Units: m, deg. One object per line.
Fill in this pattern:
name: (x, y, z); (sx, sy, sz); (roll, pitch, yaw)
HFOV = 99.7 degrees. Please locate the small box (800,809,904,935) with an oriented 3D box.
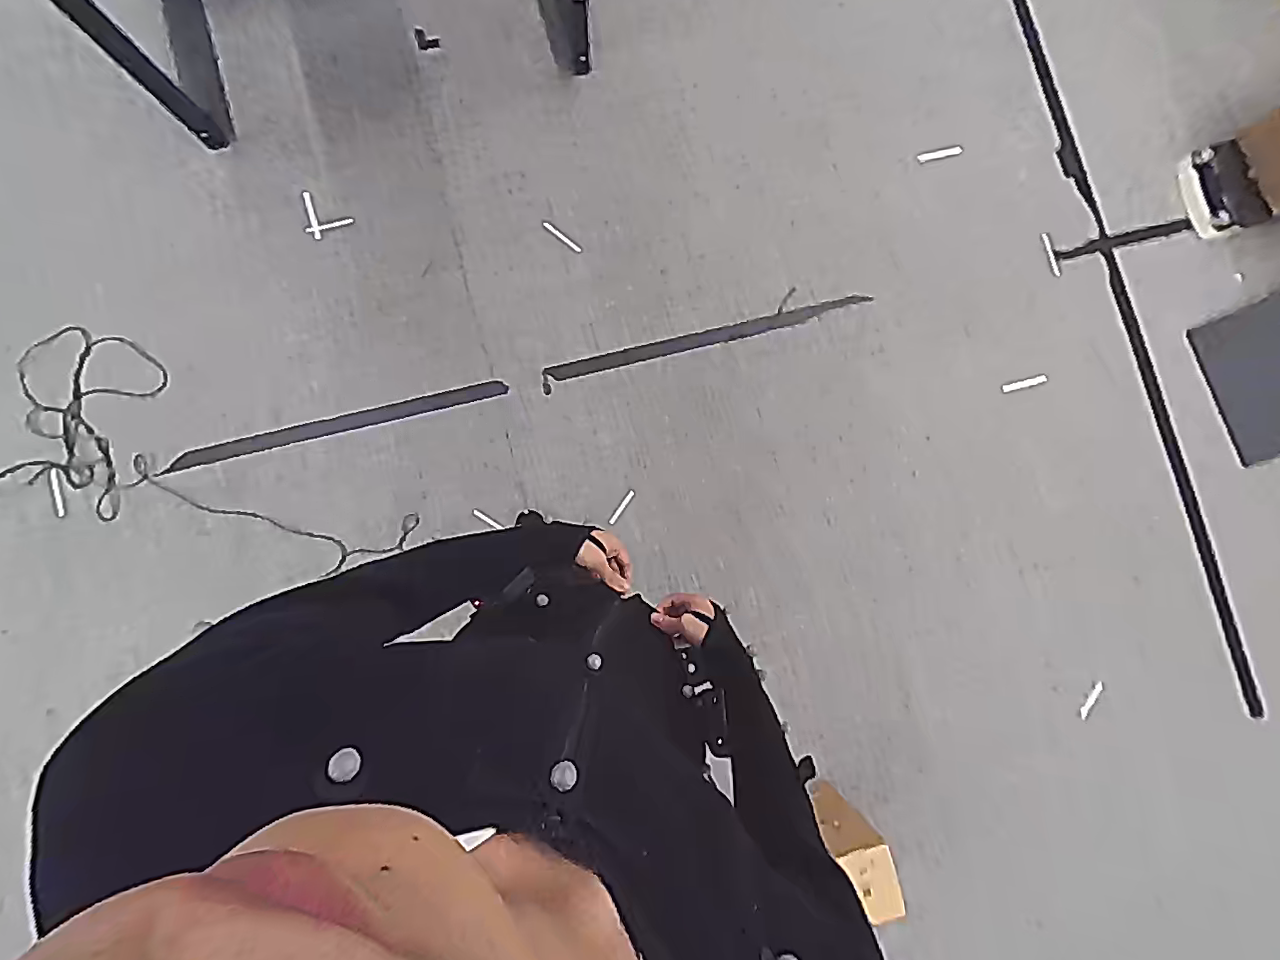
small box: (0.528, 0.979, 1.365); (0.168, 0.176, 0.179); (-13, 86, -6)

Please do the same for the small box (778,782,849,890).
small box: (0.509, 0.996, 1.527); (0.168, 0.176, 0.179); (-12, 87, -6)
